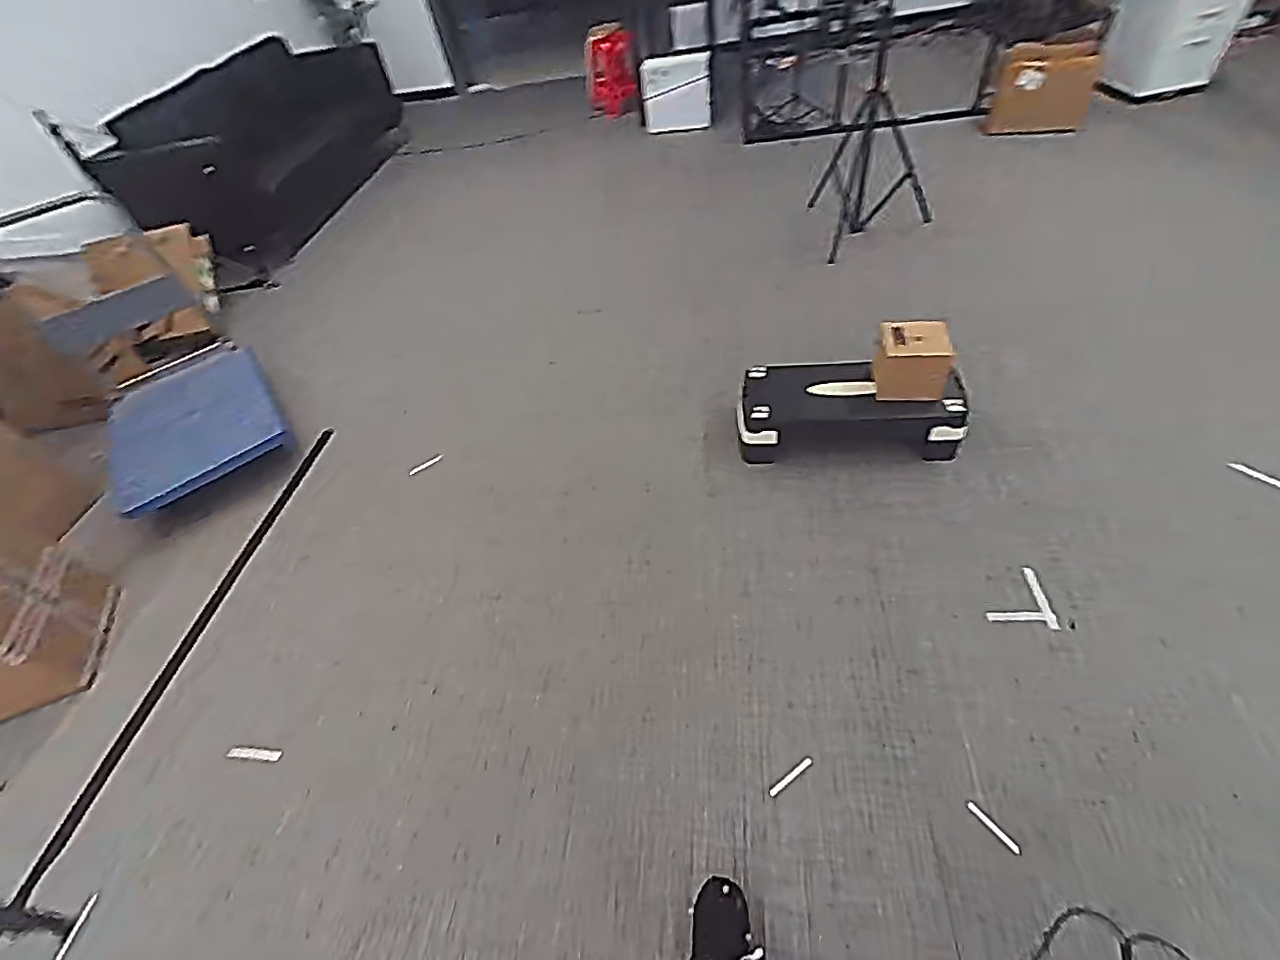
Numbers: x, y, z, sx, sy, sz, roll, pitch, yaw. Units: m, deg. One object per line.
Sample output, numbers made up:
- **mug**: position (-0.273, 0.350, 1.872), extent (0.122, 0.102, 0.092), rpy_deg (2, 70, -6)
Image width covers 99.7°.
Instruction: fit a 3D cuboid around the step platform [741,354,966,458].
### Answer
- **step platform**: position (0.682, -0.246, 1.791), extent (0.684, 0.204, 0.286), rpy_deg (-2, 49, 10)
